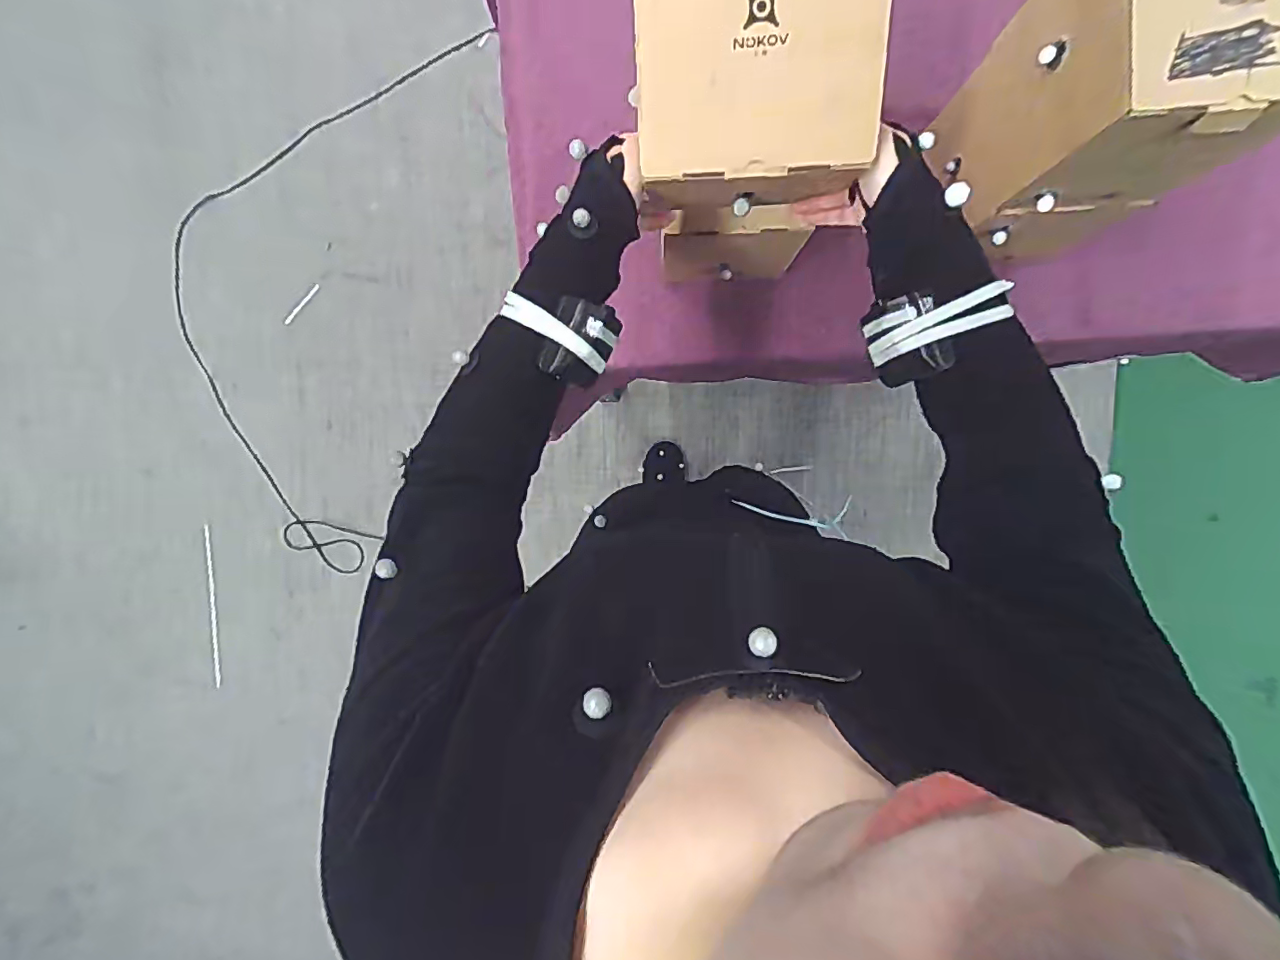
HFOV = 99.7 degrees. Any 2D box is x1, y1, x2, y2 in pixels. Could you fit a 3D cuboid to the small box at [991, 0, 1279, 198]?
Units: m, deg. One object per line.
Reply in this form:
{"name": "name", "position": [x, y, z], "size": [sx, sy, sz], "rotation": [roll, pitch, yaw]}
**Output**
{"name": "small box", "position": [0.447, -0.374, 0.484], "size": [0.168, 0.176, 0.179], "rotation": [-3, 92, 2]}

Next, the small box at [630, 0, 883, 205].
{"name": "small box", "position": [0.083, -0.326, 0.432], "size": [0.168, 0.176, 0.179], "rotation": [-1, 109, 5]}

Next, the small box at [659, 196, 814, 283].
{"name": "small box", "position": [0.106, -0.357, 0.662], "size": [0.168, 0.176, 0.179], "rotation": [-2, 93, 3]}
